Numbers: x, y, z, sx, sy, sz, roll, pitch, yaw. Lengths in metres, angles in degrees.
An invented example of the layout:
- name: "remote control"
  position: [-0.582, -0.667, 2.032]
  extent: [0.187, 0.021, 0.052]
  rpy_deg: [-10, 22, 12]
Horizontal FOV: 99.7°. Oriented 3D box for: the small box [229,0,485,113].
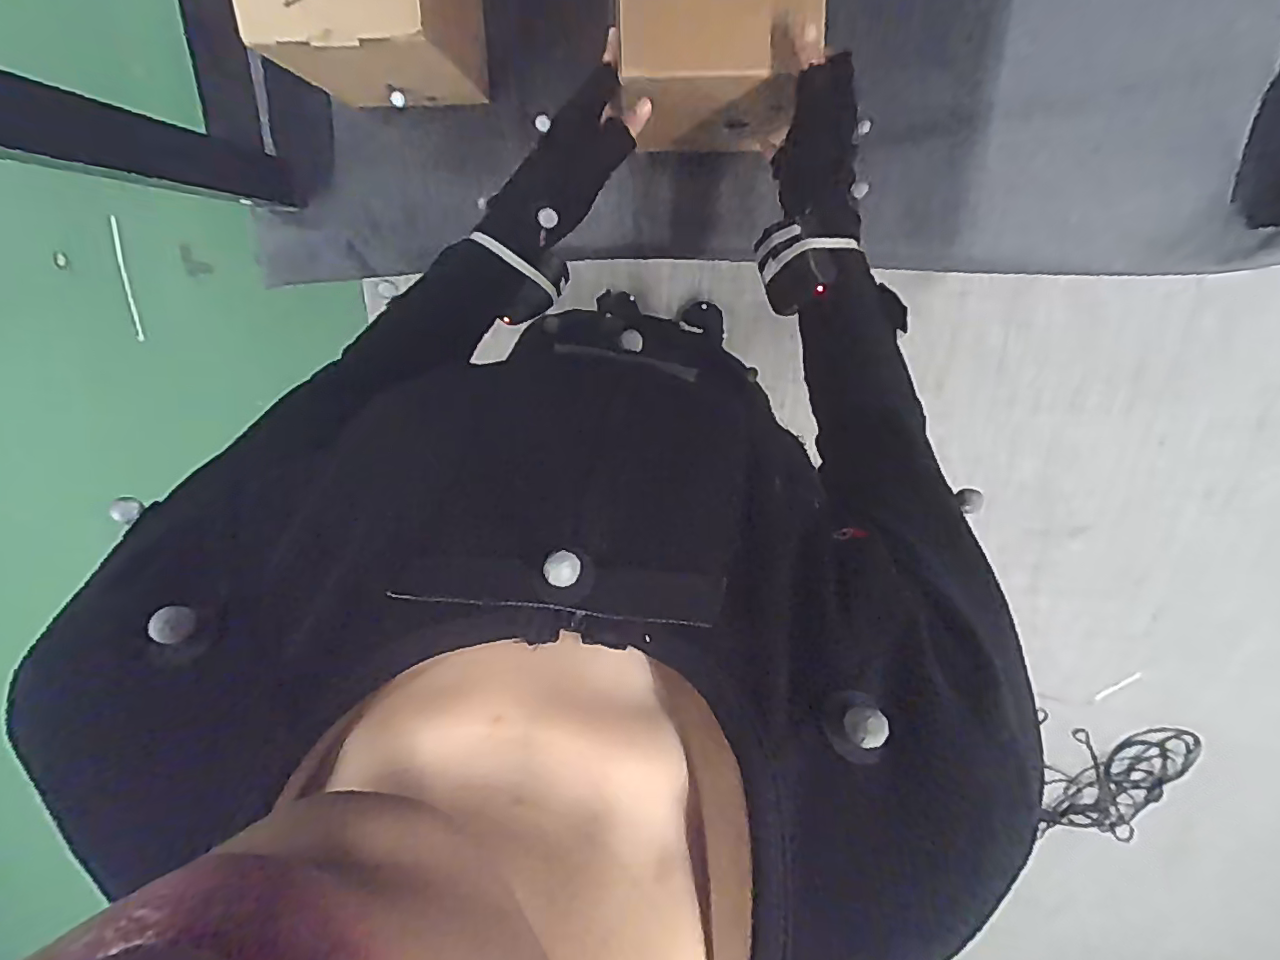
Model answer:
- name: "small box"
  position: [-0.258, -0.477, 0.512]
  extent: [0.168, 0.176, 0.179]
  rpy_deg: [2, 108, 4]
